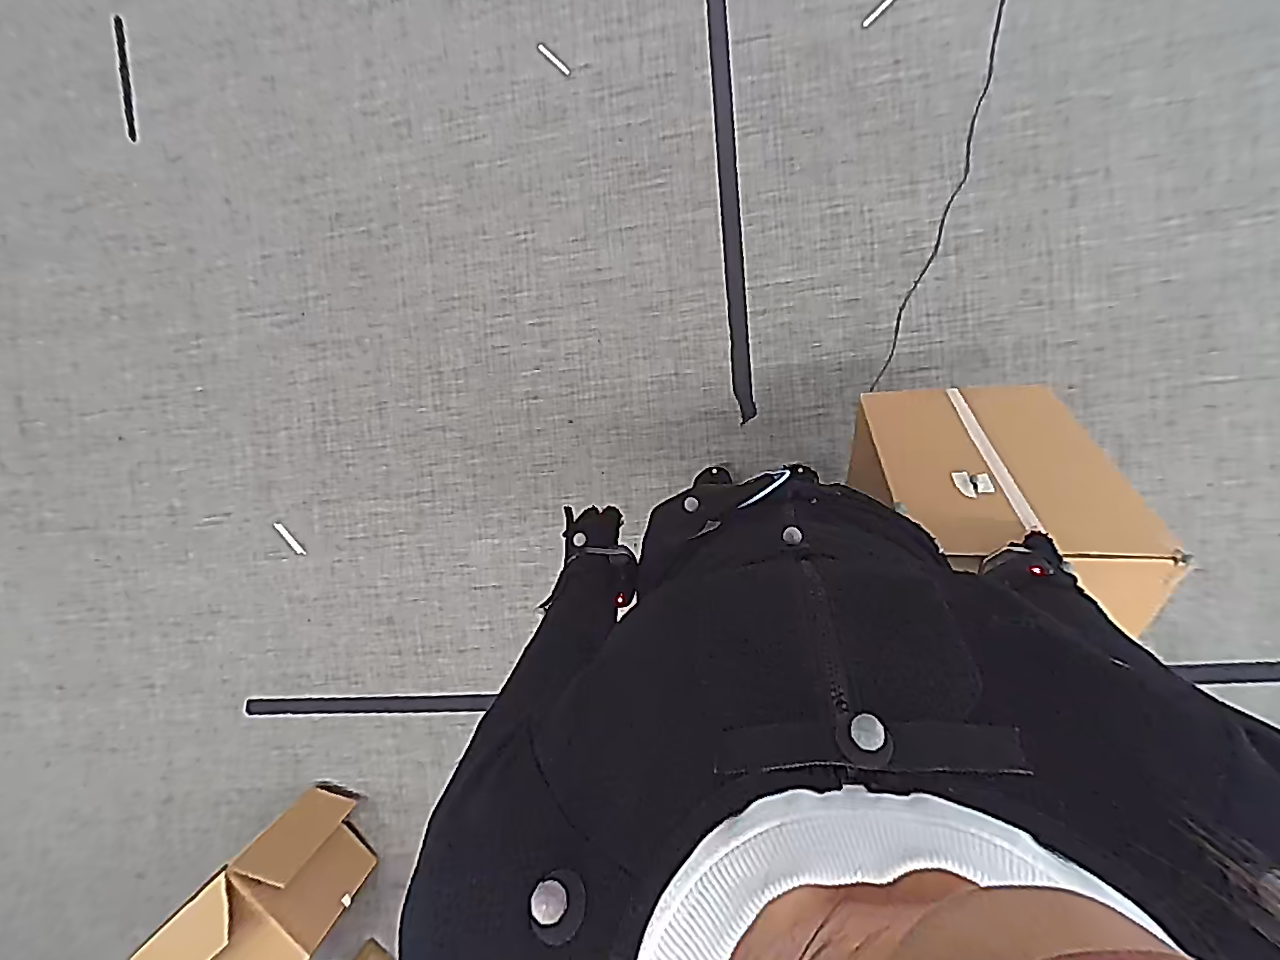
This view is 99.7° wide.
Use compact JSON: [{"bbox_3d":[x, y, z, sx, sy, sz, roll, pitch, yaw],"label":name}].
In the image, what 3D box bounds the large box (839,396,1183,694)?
[{"bbox_3d":[0.545,0.094,0.918,0.320,0.408,0.320,-1,130,11],"label":"large box"}]
